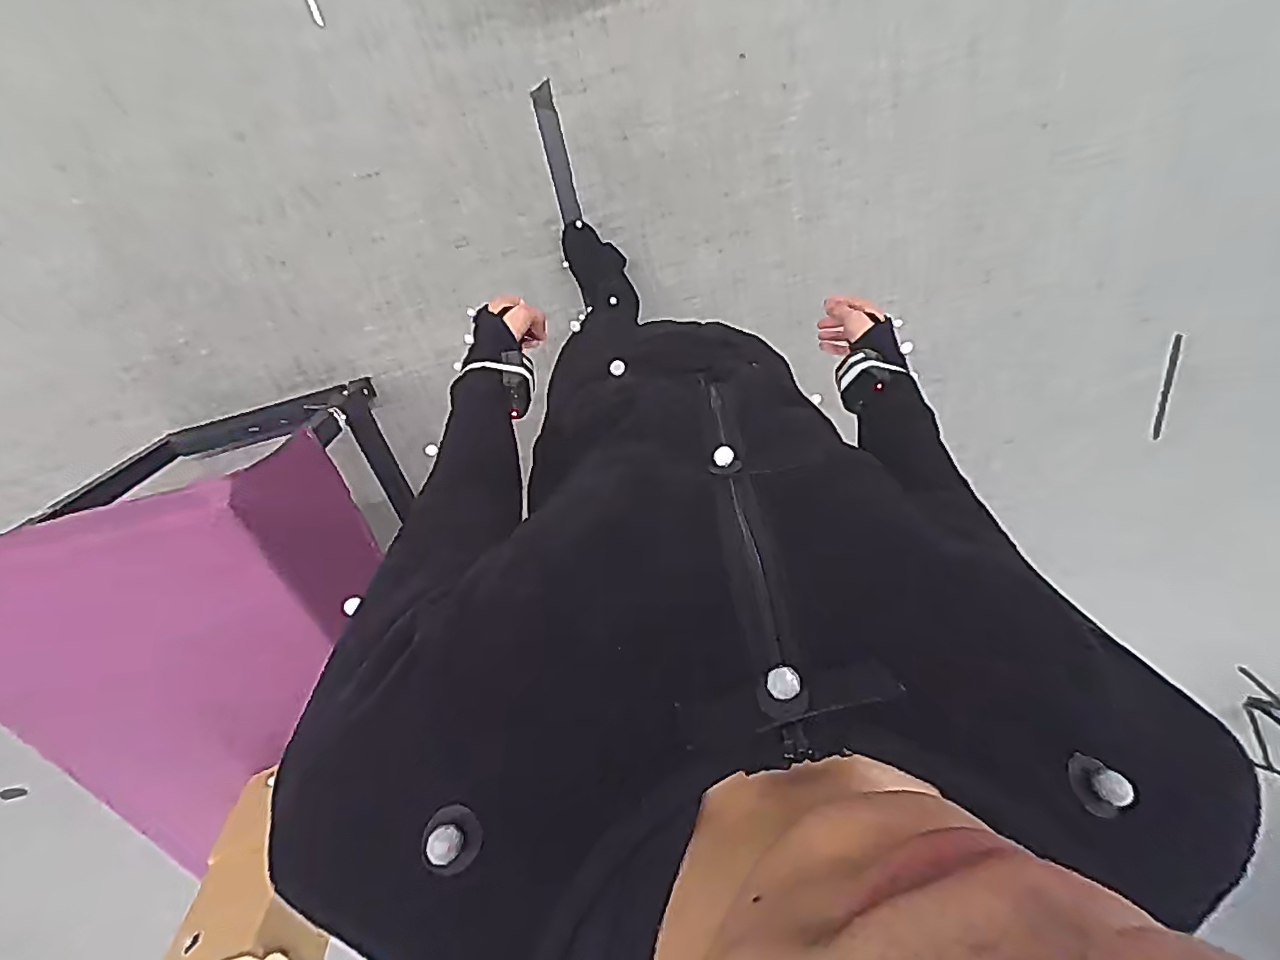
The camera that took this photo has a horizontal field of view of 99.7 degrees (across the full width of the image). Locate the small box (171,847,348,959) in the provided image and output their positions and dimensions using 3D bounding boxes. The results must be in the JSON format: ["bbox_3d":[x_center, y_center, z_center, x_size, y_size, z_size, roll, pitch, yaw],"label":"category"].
[{"bbox_3d":[-0.653,0.784,0.939,0.179,0.176,0.168,-20,119,2],"label":"small box"}]
